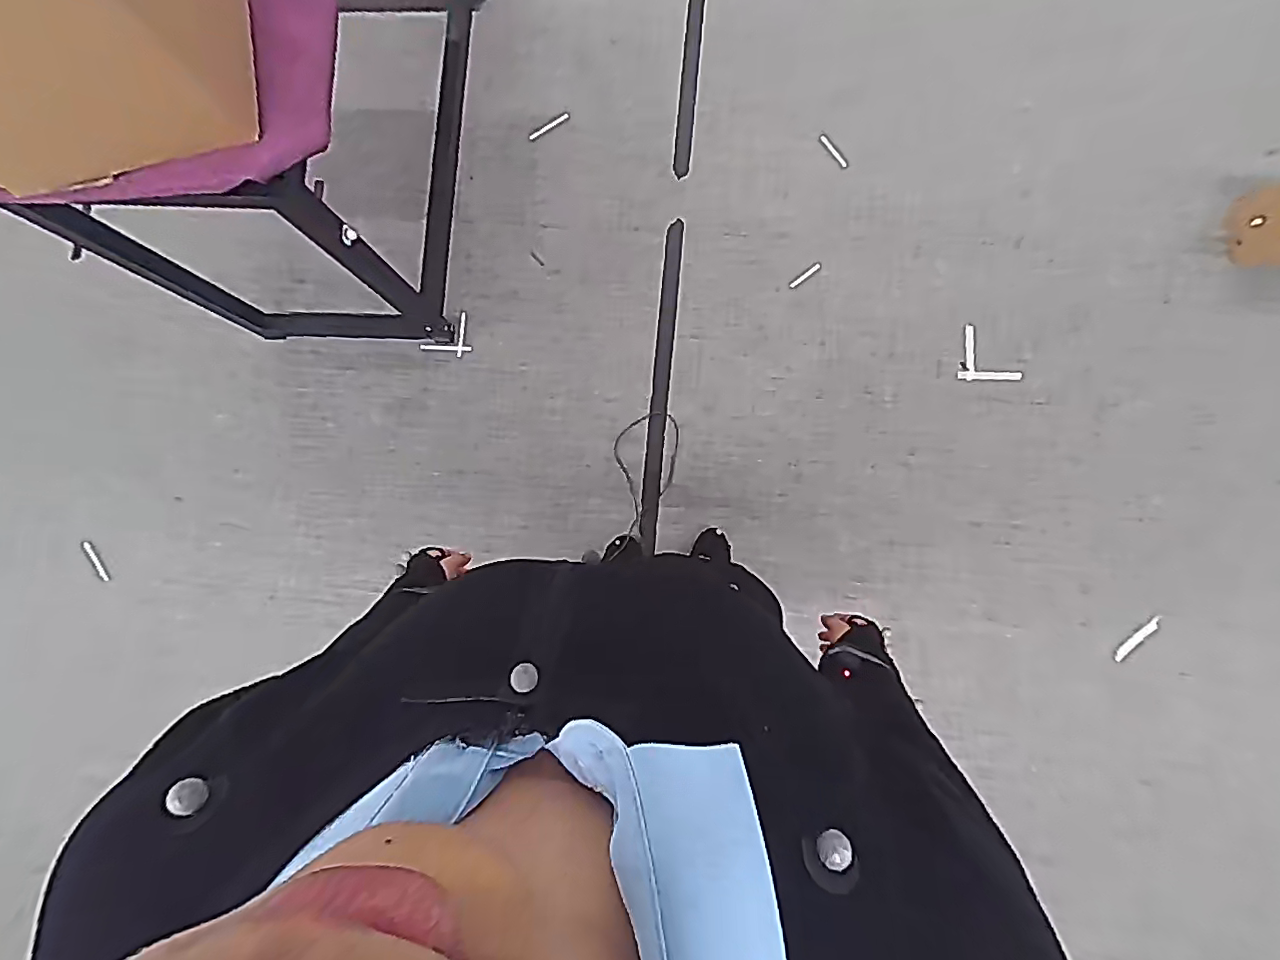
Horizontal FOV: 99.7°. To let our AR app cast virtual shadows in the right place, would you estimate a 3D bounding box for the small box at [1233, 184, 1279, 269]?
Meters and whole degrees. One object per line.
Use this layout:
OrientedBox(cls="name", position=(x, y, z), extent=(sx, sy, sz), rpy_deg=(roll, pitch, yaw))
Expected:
OrientedBox(cls="small box", position=(1.740, -0.678, 1.434), extent=(0.179, 0.176, 0.168), rpy_deg=(2, 84, 3))
